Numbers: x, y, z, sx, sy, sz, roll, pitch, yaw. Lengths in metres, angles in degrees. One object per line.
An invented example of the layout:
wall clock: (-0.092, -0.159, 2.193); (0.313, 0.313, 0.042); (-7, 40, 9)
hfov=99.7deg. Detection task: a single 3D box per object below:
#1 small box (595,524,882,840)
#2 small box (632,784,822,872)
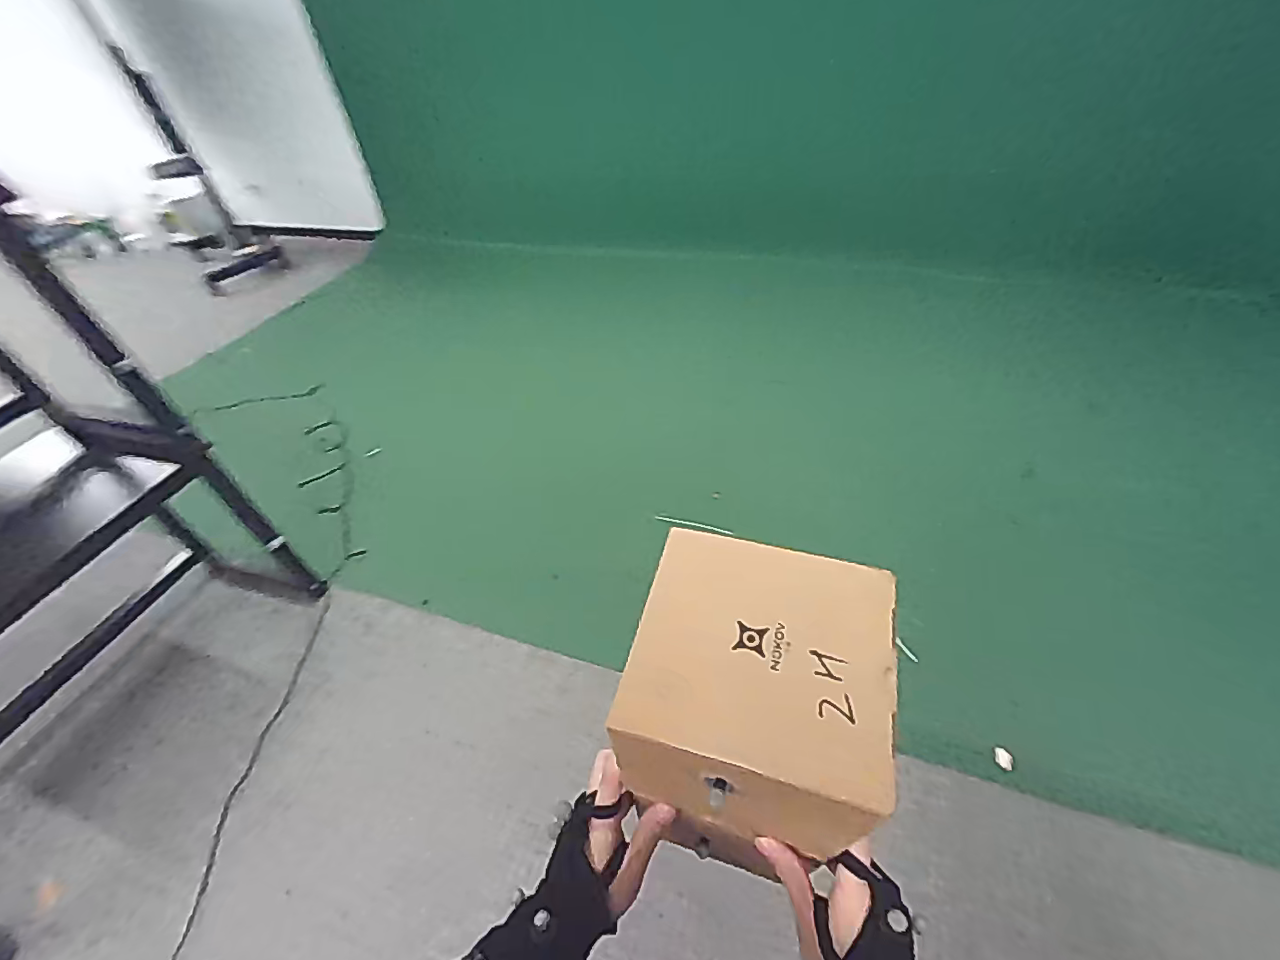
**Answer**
small box: (0.080, 0.163, 0.436); (0.179, 0.176, 0.168); (11, 50, 13)
small box: (0.095, 0.272, 0.560); (0.168, 0.176, 0.179); (11, 51, 13)
